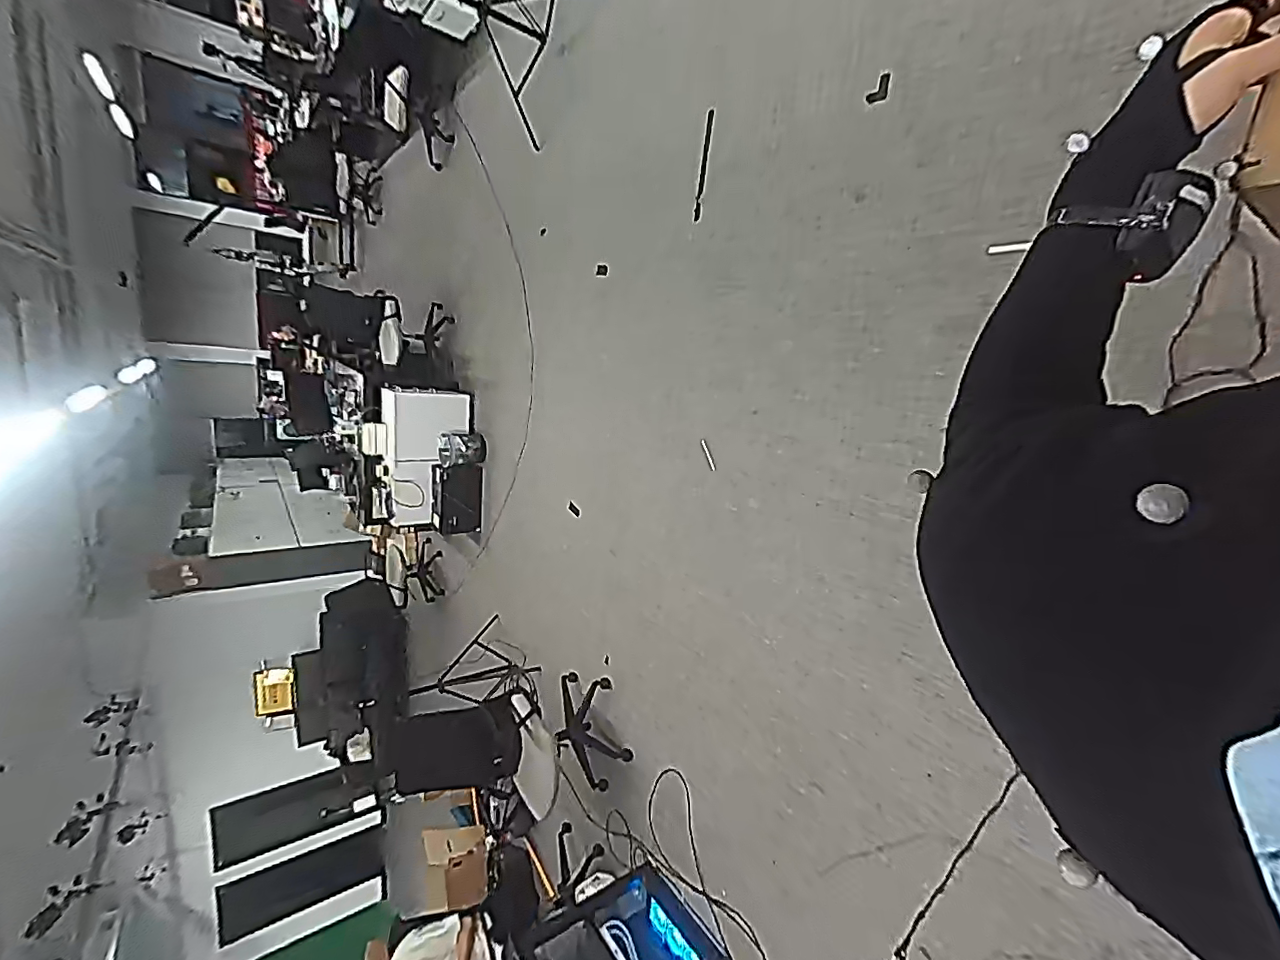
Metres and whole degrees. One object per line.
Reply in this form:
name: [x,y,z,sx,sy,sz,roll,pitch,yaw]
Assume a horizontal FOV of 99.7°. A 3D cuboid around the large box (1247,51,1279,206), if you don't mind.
large box: [0.677,-0.332,0.274,0.408,0.320,0.320,23,113,54]
